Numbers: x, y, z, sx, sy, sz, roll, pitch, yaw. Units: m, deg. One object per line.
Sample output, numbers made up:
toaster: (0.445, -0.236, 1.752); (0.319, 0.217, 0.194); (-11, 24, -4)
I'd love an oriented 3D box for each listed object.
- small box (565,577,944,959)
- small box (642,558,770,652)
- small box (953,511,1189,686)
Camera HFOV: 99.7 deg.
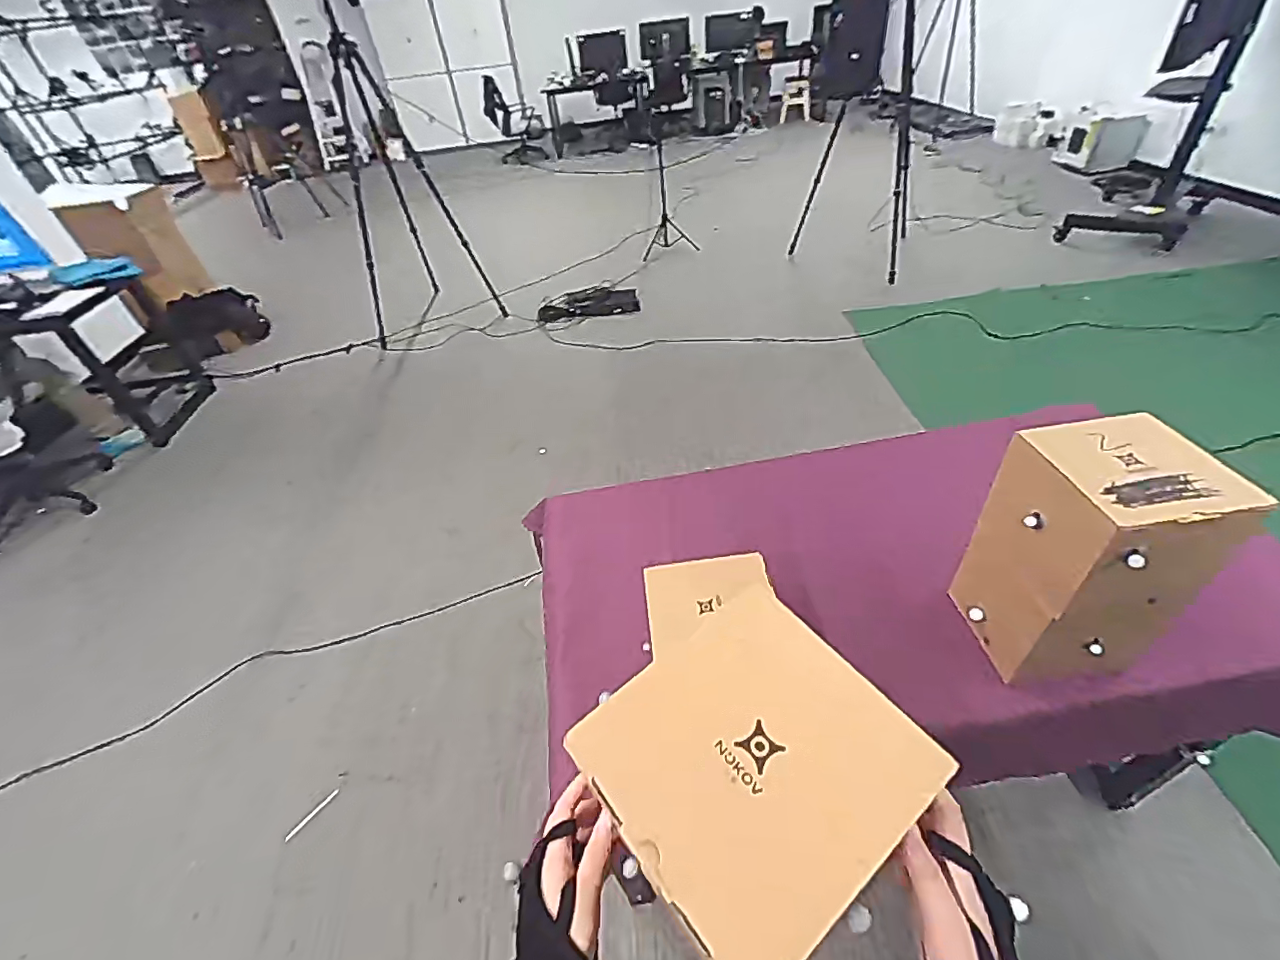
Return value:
small box: (0.070, 0.211, 0.393); (0.179, 0.176, 0.168); (-33, 55, -21)
small box: (0.104, 0.237, 0.774); (0.179, 0.176, 0.168); (-8, 41, 1)
small box: (0.586, 0.169, 0.768); (0.179, 0.176, 0.168); (-9, 40, 1)
